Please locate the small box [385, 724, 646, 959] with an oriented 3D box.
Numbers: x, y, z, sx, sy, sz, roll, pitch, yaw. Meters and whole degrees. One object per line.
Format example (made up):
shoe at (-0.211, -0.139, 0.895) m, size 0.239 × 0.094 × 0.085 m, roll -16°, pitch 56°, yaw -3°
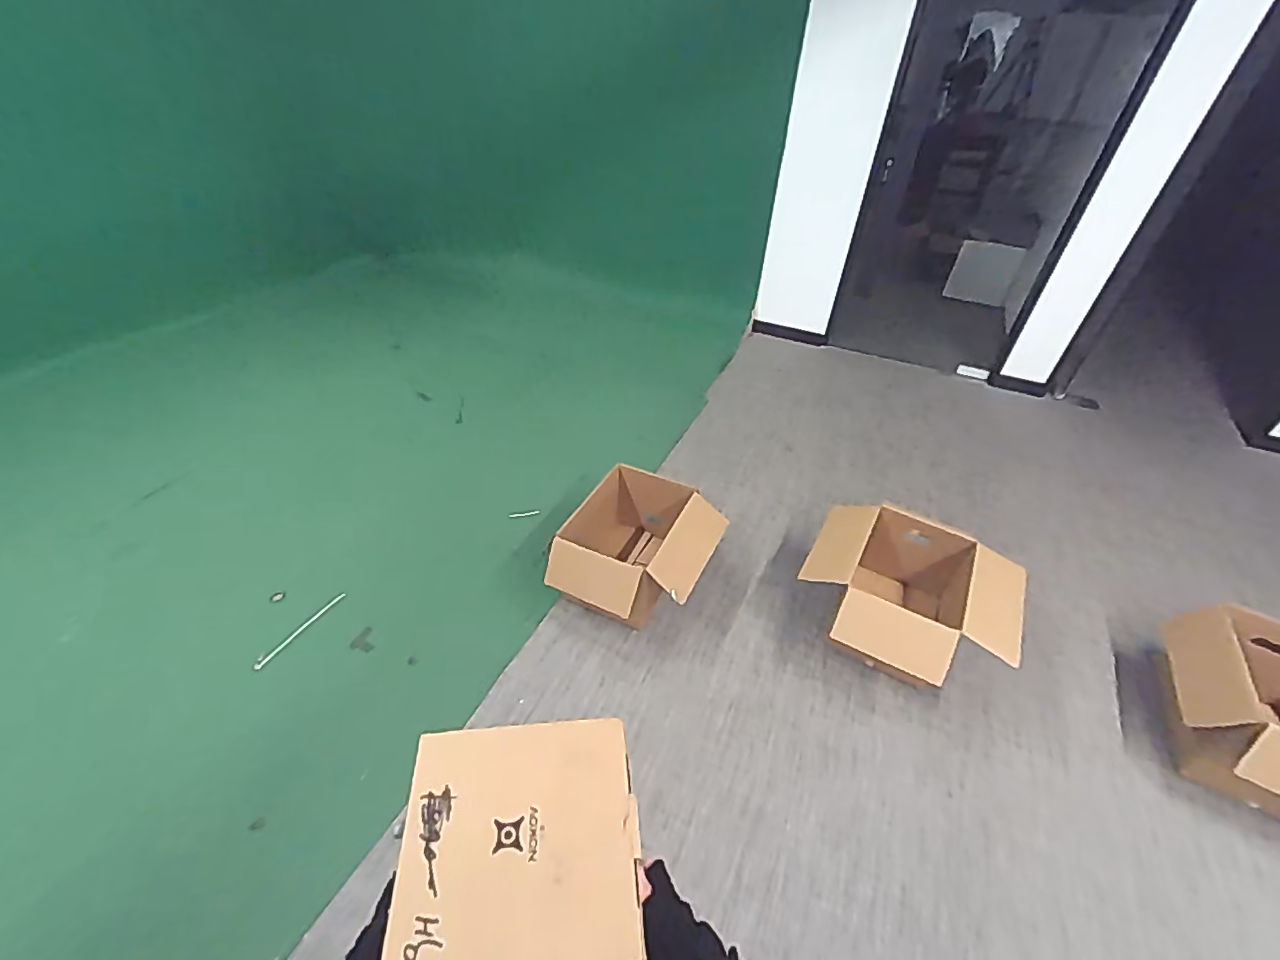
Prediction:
small box at (-0.095, 0.331, 0.469) m, size 0.179 × 0.176 × 0.168 m, roll 0°, pitch 43°, yaw -7°
